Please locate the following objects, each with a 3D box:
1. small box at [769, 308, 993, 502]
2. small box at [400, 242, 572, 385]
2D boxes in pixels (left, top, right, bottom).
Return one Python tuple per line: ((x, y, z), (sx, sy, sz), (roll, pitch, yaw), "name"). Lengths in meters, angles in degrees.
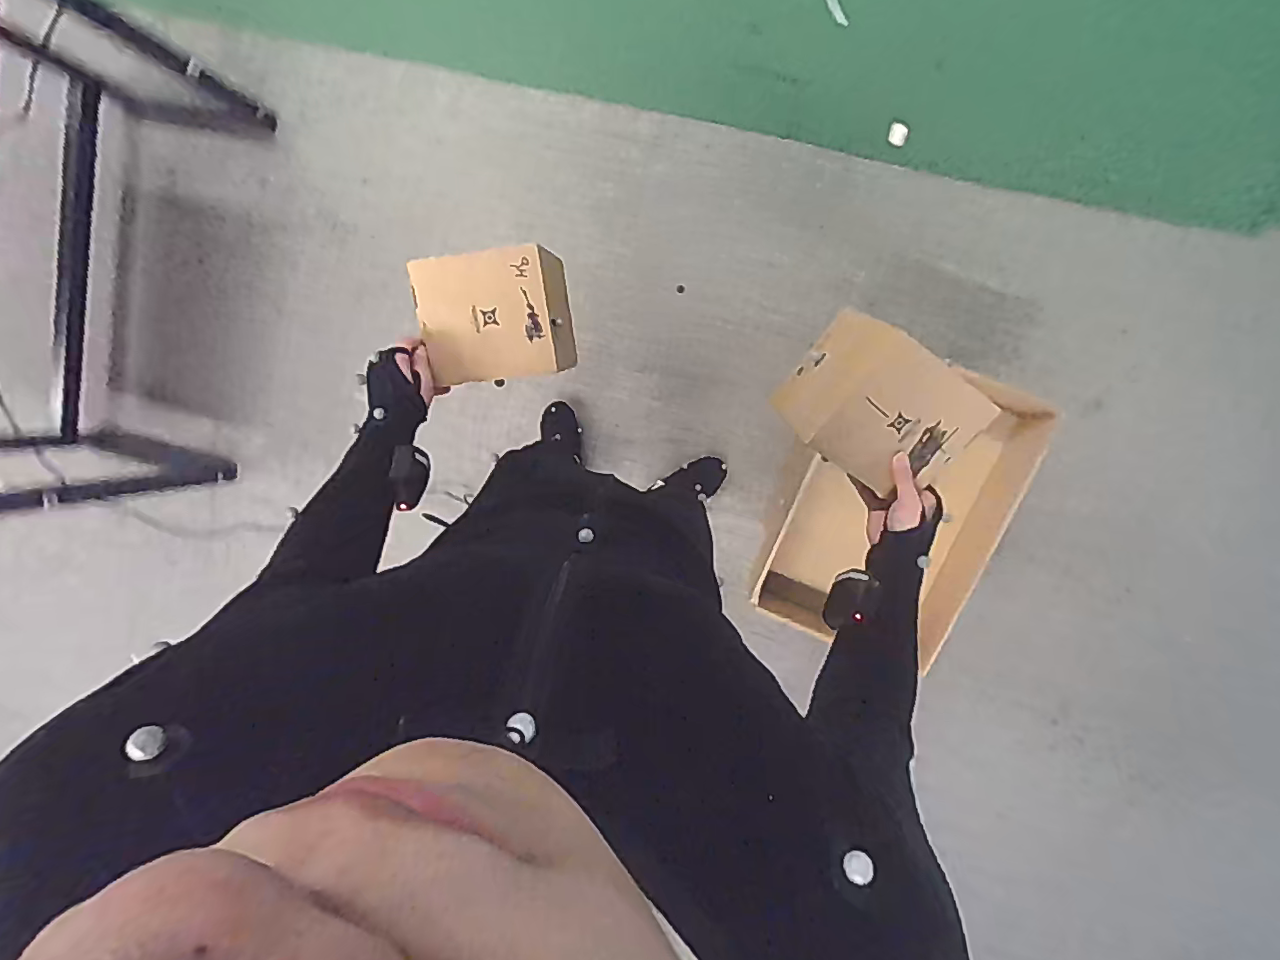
((0.302, -0.107, 0.715), (0.179, 0.176, 0.168), (29, 111, -15), "small box")
((-0.210, -0.233, 0.784), (0.179, 0.176, 0.168), (-6, 104, 6), "small box")
